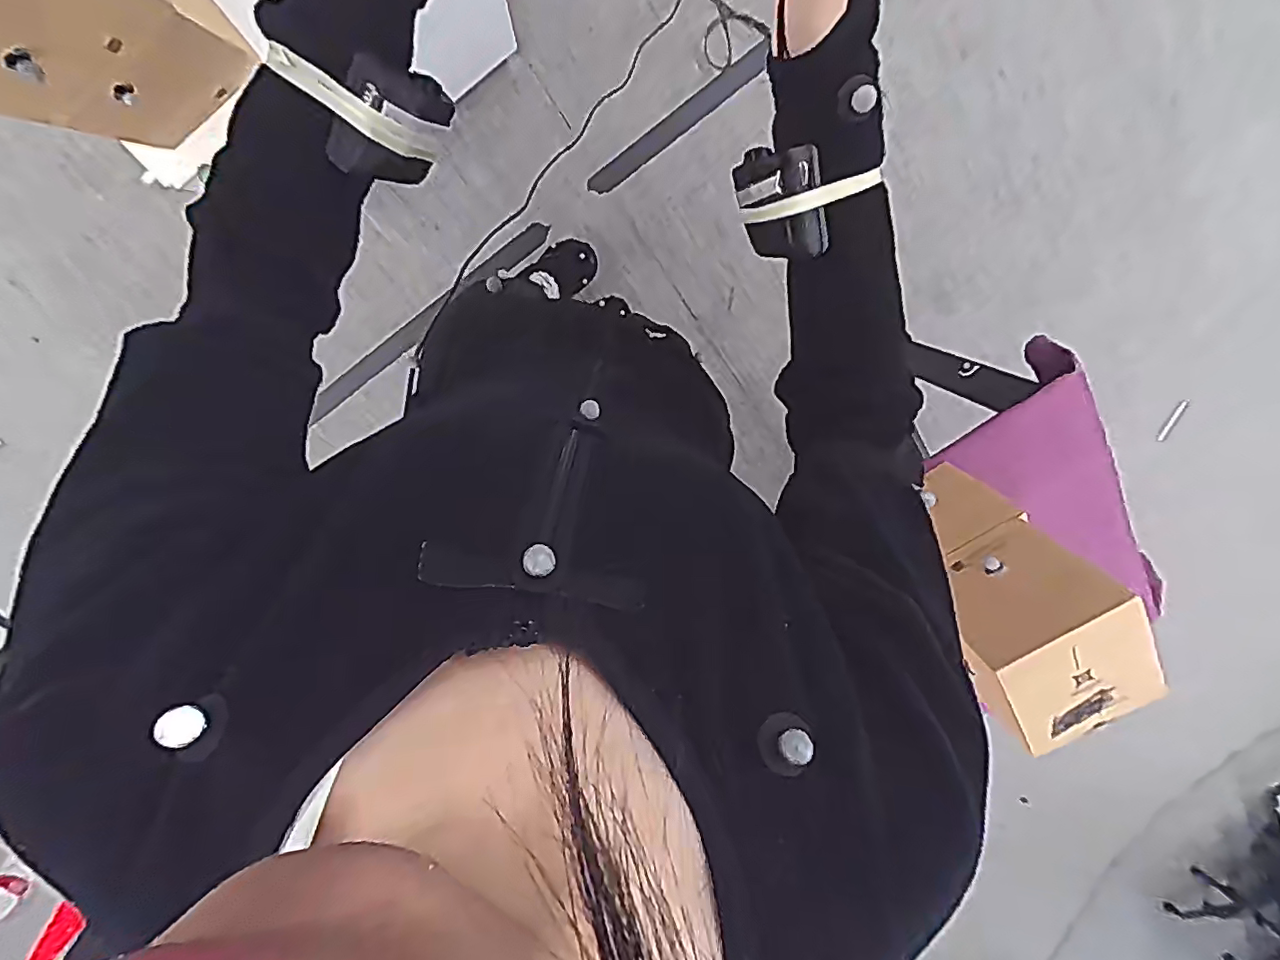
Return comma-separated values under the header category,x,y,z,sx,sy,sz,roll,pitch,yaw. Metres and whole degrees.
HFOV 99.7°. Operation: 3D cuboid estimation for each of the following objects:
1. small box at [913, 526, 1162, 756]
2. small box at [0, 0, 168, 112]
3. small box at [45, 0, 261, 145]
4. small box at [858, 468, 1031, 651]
category,x,y,z,sx,sy,sz,roll,pitch,yaw
small box,0.478,0.191,0.669,0.168,0.176,0.179,-32,114,7
small box,-0.520,-0.408,0.397,0.168,0.176,0.179,-36,114,8
small box,-0.544,-0.477,0.543,0.168,0.176,0.179,-35,114,8
small box,0.455,0.113,0.812,0.179,0.176,0.168,-32,116,7
